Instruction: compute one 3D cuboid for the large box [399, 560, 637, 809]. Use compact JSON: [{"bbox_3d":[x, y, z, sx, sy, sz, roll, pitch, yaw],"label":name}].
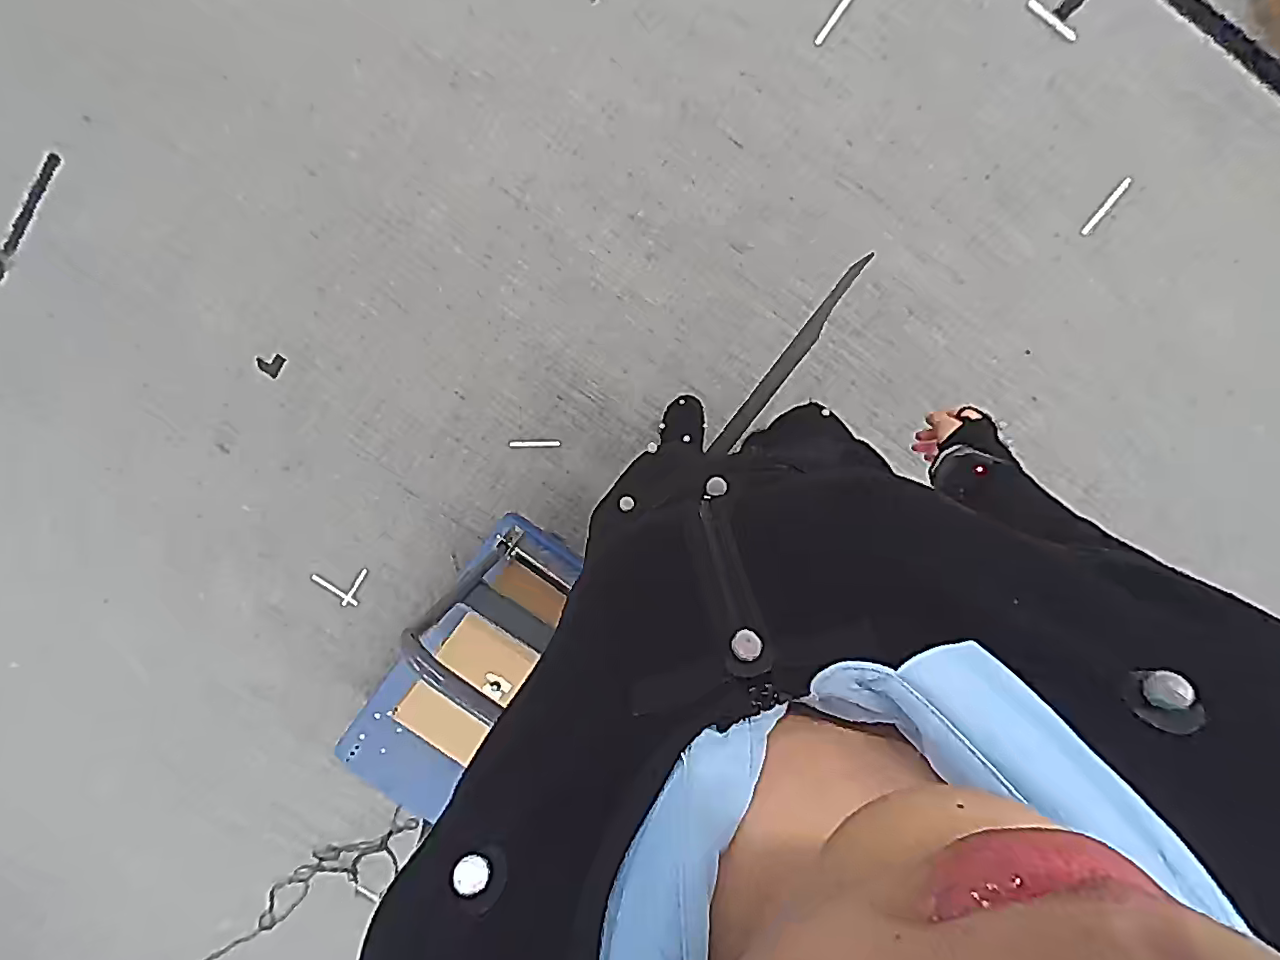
[{"bbox_3d":[-0.257,0.457,1.278,0.408,0.320,0.320,37,98,-4],"label":"large box"}]
